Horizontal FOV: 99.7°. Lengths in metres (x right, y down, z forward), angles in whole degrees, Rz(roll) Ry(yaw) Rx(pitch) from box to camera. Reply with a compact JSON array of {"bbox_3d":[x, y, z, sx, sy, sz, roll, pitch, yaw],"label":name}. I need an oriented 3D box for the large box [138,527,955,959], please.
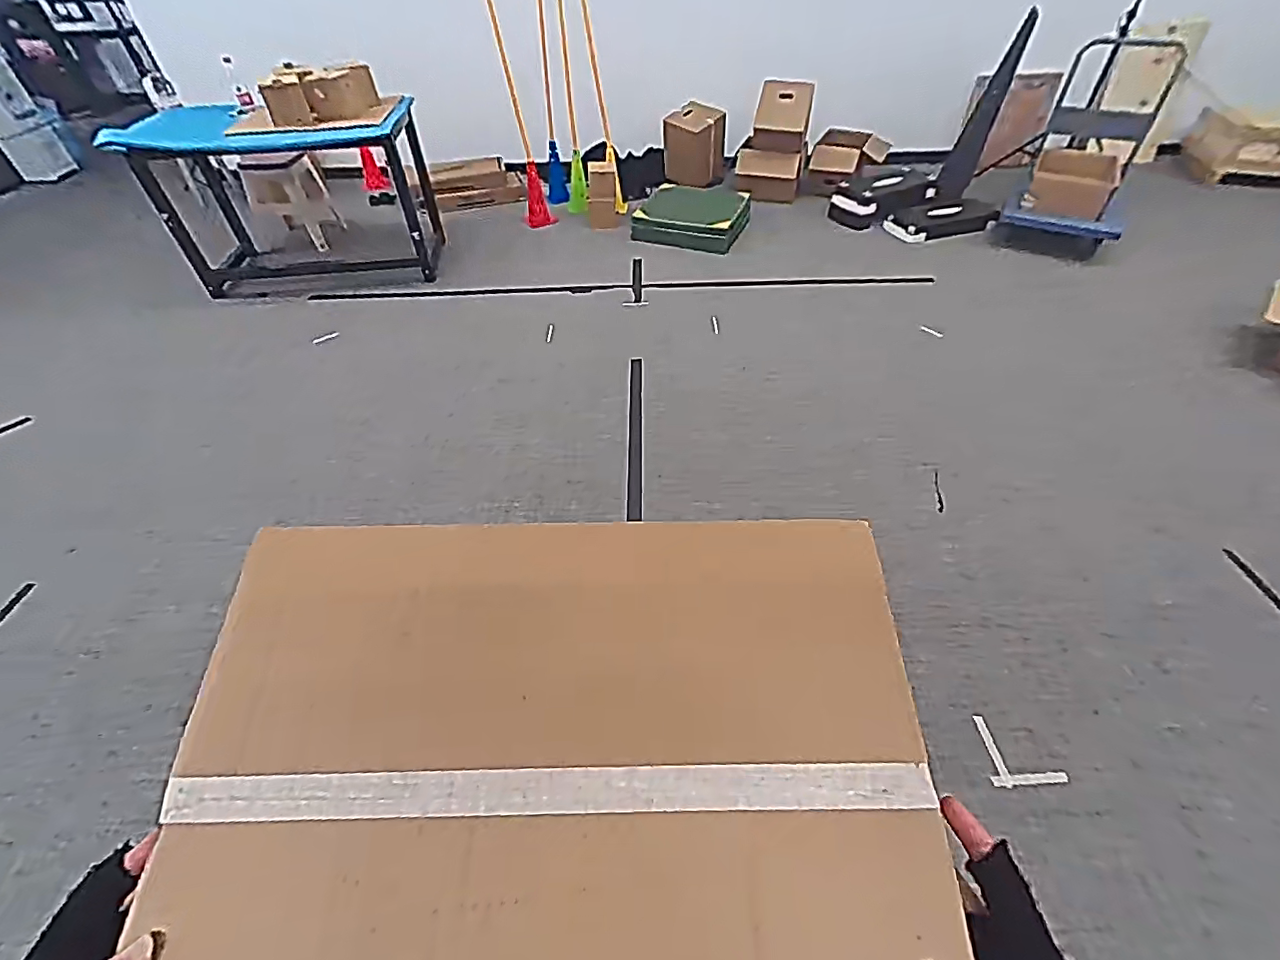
[{"bbox_3d":[-0.047,0.242,0.427,0.408,0.320,0.320,-1,62,0],"label":"large box"}]
